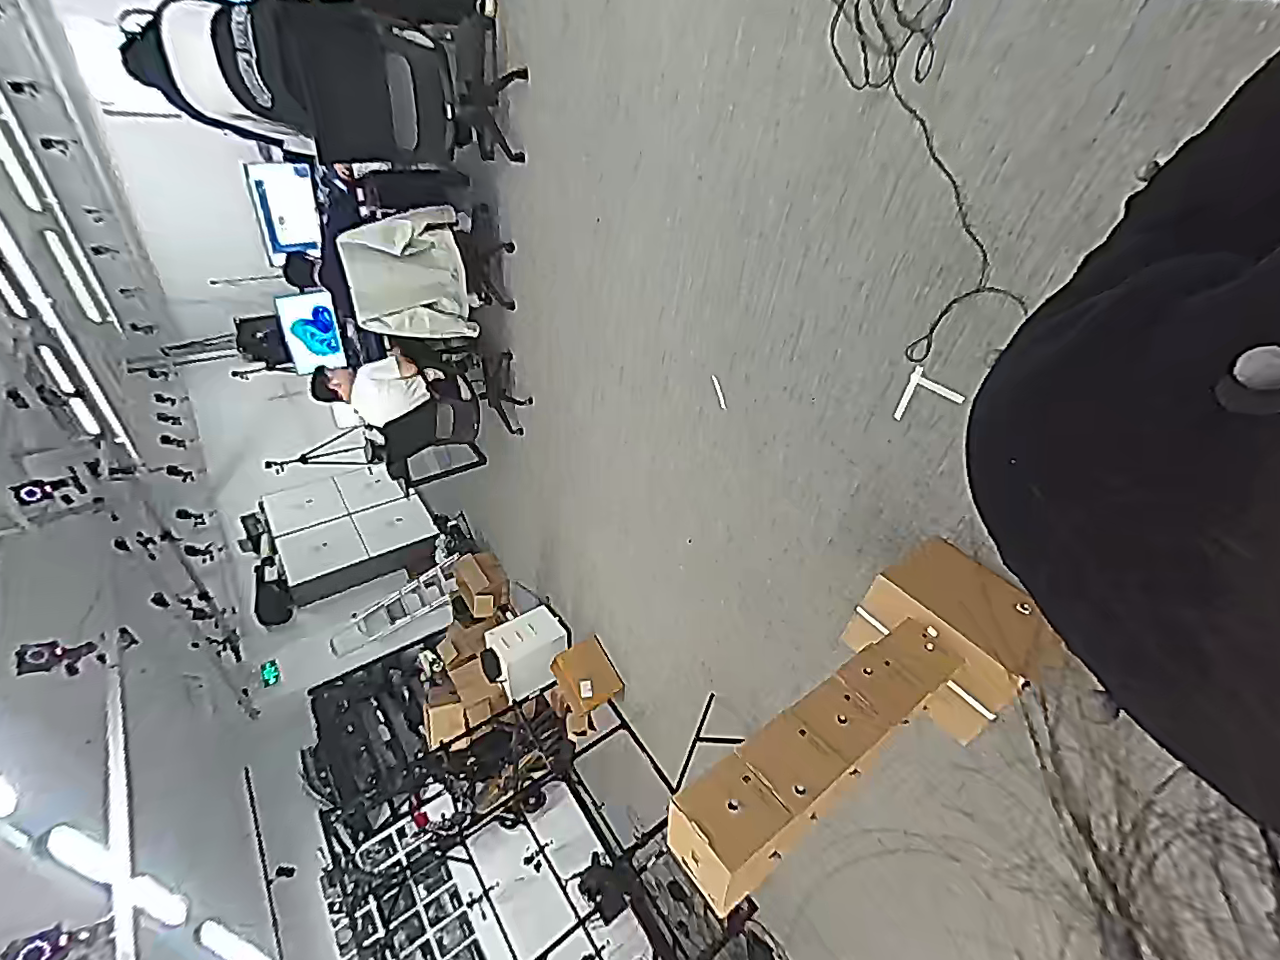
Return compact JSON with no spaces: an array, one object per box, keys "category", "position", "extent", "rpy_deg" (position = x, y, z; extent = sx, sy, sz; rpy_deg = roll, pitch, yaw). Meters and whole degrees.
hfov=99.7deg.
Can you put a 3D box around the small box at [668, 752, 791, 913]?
[{"category":"small box","position":[0.176,0.686,1.071],"extent":[0.168,0.176,0.179],"rpy_deg":[35,134,43]}]

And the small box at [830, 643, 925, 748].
[{"category":"small box","position":[0.566,0.537,1.331],"extent":[0.168,0.176,0.179],"rpy_deg":[42,140,38]}]

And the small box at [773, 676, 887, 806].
[{"category":"small box","position":[0.437,0.591,1.244],"extent":[0.168,0.176,0.179],"rpy_deg":[39,137,41]}]

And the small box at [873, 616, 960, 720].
[{"category":"small box","position":[0.697,0.494,1.417],"extent":[0.168,0.176,0.179],"rpy_deg":[42,139,36]}]
